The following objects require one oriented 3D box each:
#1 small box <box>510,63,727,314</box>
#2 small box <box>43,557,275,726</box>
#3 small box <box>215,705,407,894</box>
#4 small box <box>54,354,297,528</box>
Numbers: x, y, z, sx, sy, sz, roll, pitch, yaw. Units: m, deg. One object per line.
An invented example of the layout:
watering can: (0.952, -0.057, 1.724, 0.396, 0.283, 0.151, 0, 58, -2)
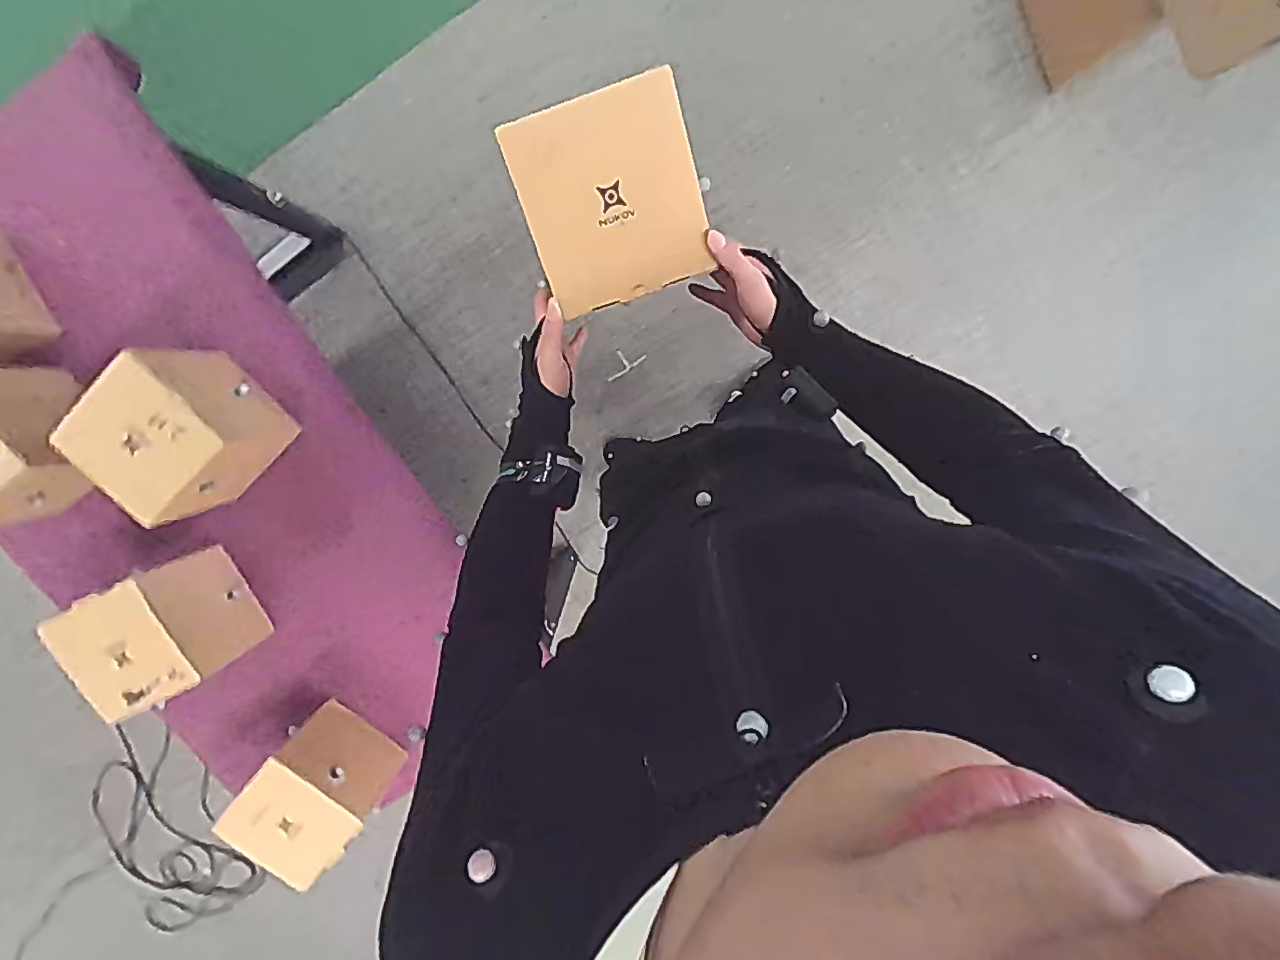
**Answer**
small box: (-0.022, -0.292, 0.575, 0.168, 0.176, 0.179, -17, 113, 3)
small box: (-0.733, 0.236, 0.847, 0.168, 0.176, 0.179, -25, 99, 4)
small box: (-0.528, 0.516, 0.897, 0.179, 0.176, 0.168, 41, 96, -6)
small box: (-0.658, -0.062, 0.791, 0.179, 0.176, 0.168, -42, 98, 8)
